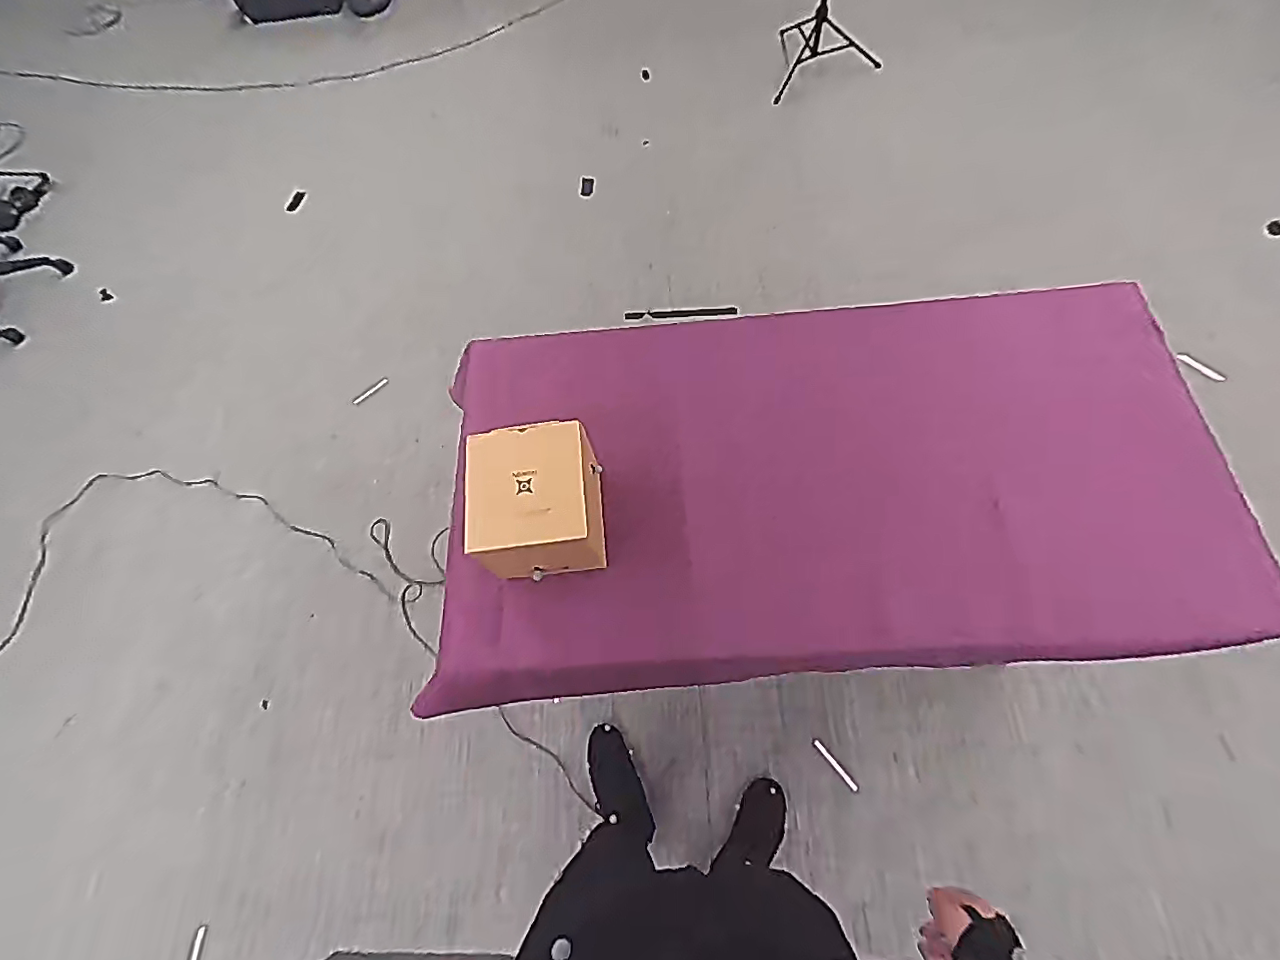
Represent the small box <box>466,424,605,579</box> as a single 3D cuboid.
[{"bbox_3d":[-0.149,0.038,0.815,0.168,0.176,0.179,-7,66,3],"label":"small box"}]
